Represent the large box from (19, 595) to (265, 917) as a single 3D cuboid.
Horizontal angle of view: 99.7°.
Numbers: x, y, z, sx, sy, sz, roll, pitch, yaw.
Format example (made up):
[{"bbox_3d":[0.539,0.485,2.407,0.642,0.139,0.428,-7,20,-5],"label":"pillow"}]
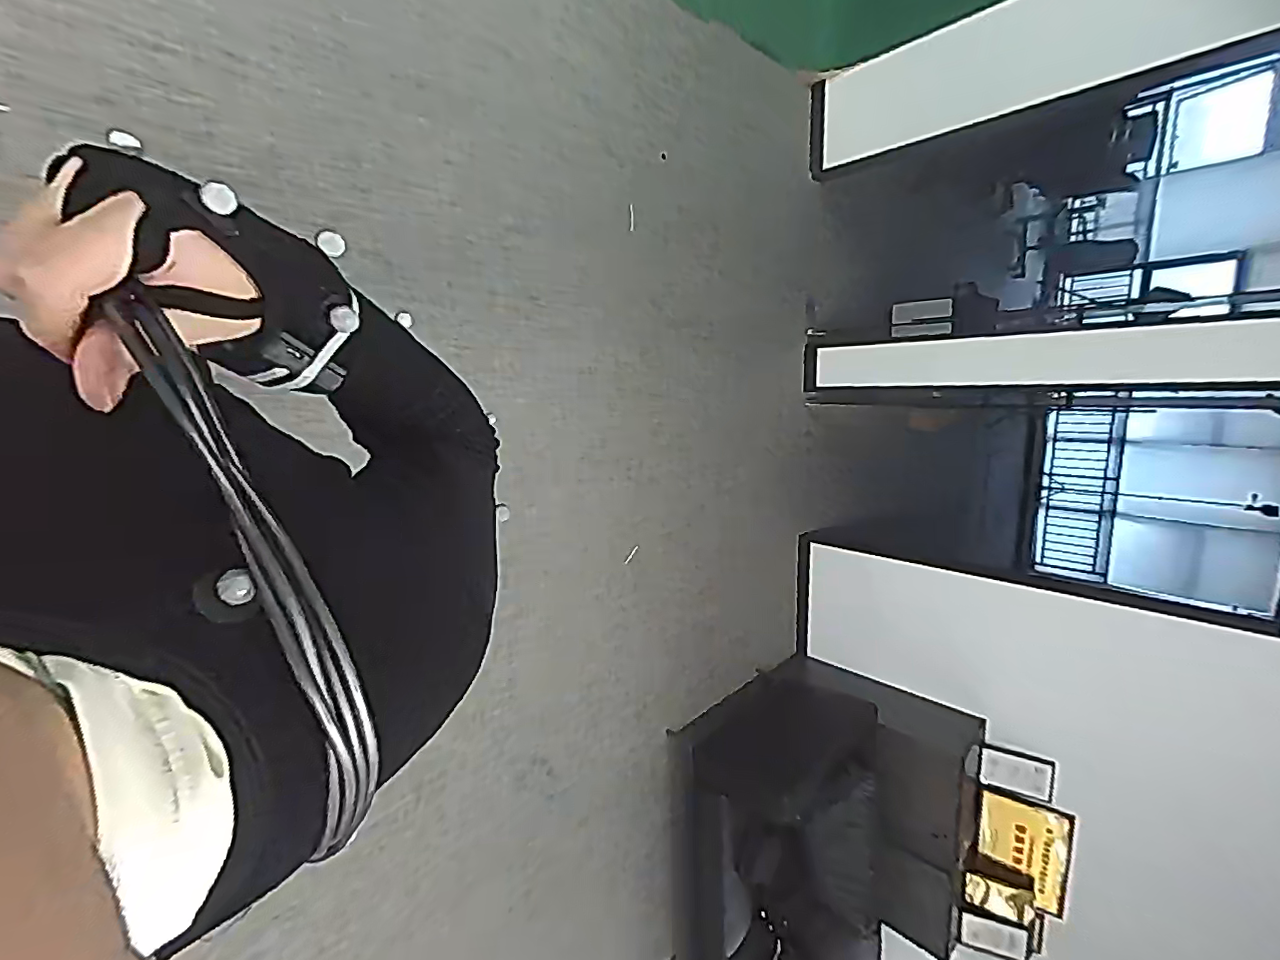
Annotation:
[{"bbox_3d":[-0.948,0.475,1.043,0.320,0.320,0.408,0,96,-45],"label":"large box"}]
